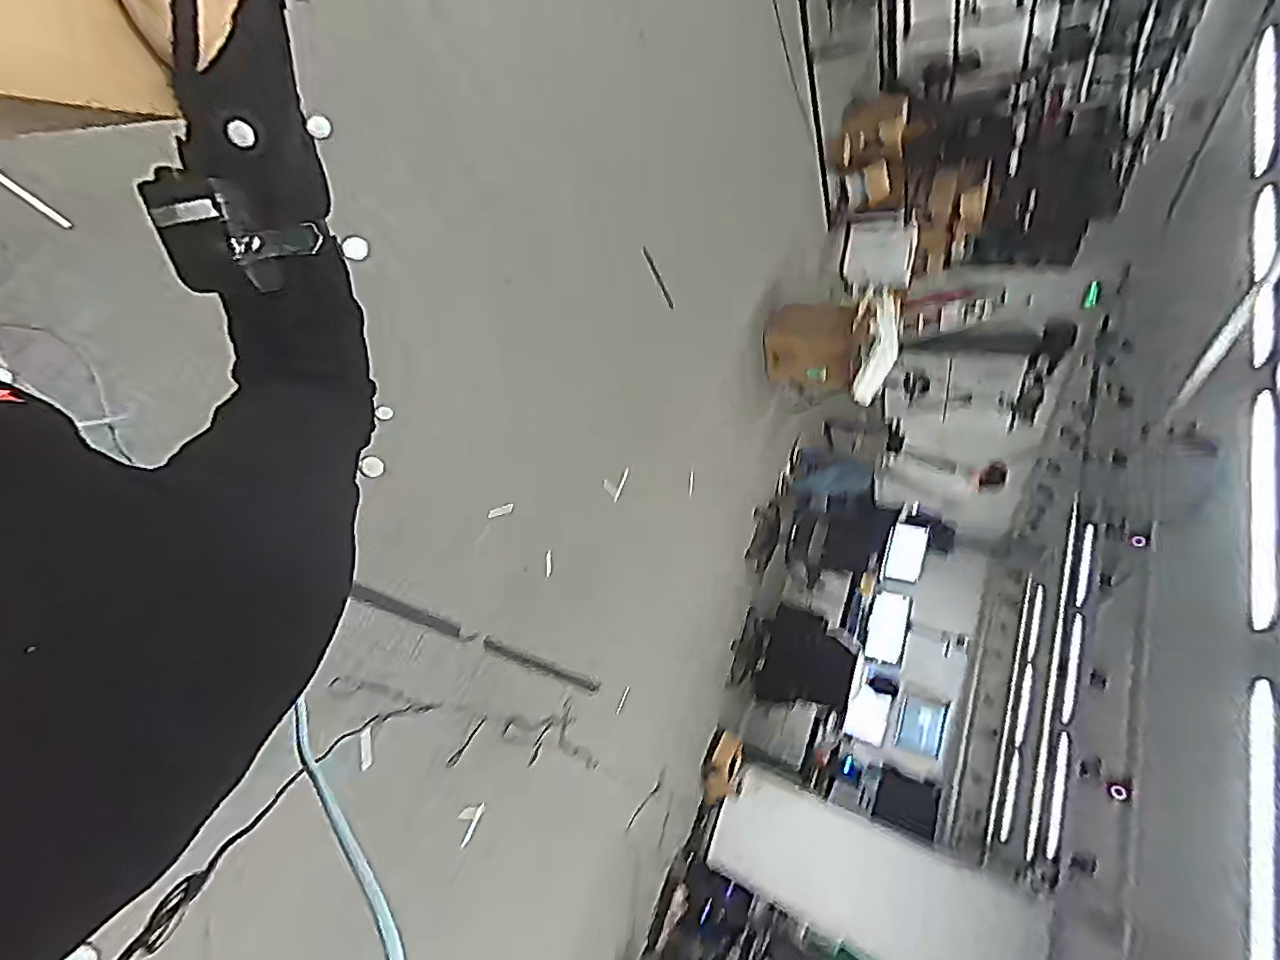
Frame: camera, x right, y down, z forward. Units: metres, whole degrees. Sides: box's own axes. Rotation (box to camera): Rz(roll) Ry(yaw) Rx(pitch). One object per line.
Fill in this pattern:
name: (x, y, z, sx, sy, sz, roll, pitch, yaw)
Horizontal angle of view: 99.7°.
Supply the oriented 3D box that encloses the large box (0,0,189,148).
large box: (-0.467, -0.287, 0.138, 0.408, 0.320, 0.320, -36, 136, -52)
